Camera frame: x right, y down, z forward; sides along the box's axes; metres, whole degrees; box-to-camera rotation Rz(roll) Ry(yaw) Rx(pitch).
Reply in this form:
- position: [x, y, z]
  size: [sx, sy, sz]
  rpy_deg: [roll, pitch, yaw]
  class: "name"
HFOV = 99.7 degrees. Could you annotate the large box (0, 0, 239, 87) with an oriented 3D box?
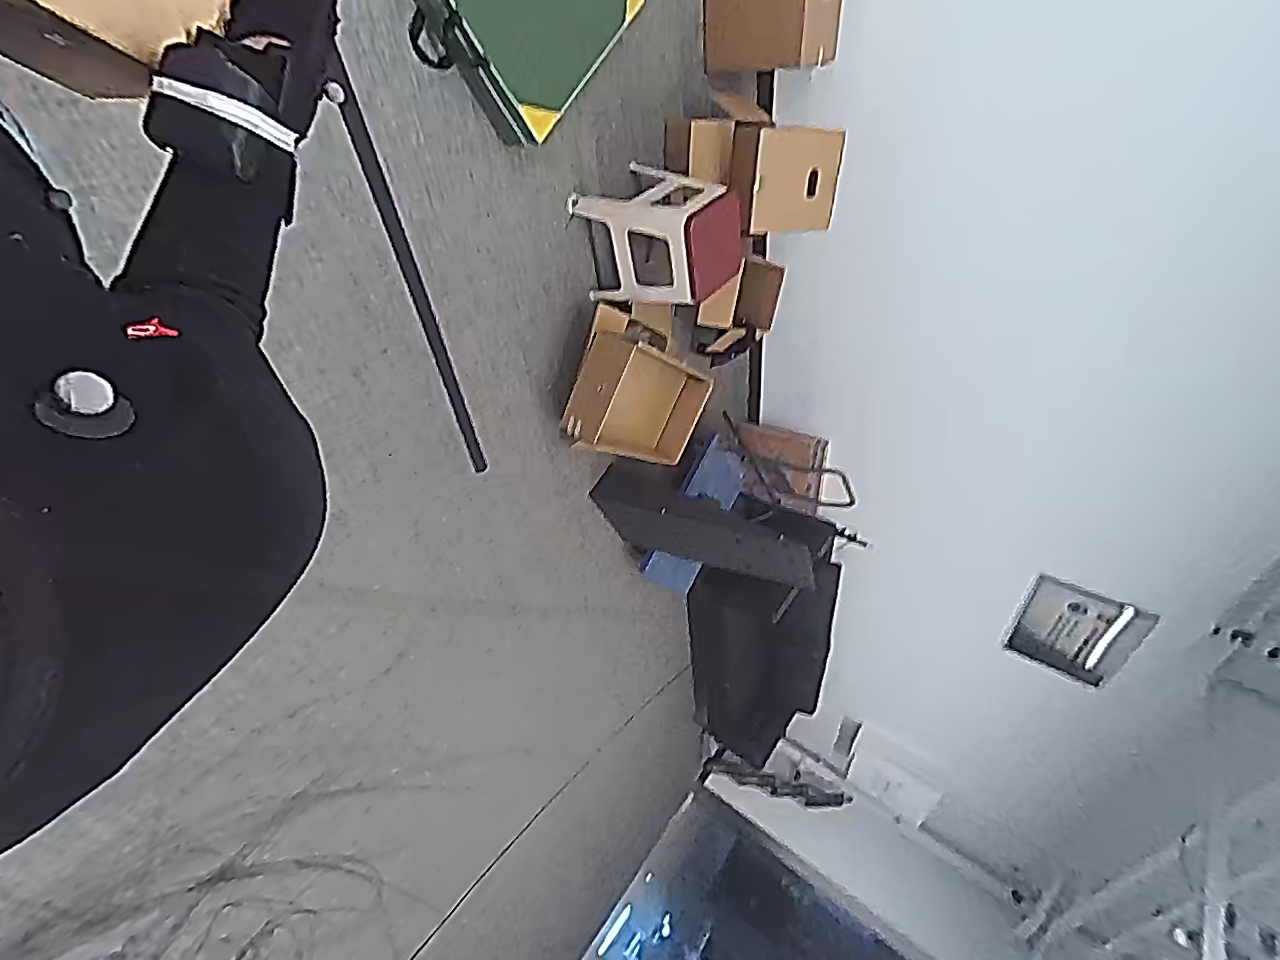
- position: [-0.469, -0.487, 0.273]
  size: [0.408, 0.320, 0.320]
  rpy_deg: [10, 104, -59]
  class: "large box"
